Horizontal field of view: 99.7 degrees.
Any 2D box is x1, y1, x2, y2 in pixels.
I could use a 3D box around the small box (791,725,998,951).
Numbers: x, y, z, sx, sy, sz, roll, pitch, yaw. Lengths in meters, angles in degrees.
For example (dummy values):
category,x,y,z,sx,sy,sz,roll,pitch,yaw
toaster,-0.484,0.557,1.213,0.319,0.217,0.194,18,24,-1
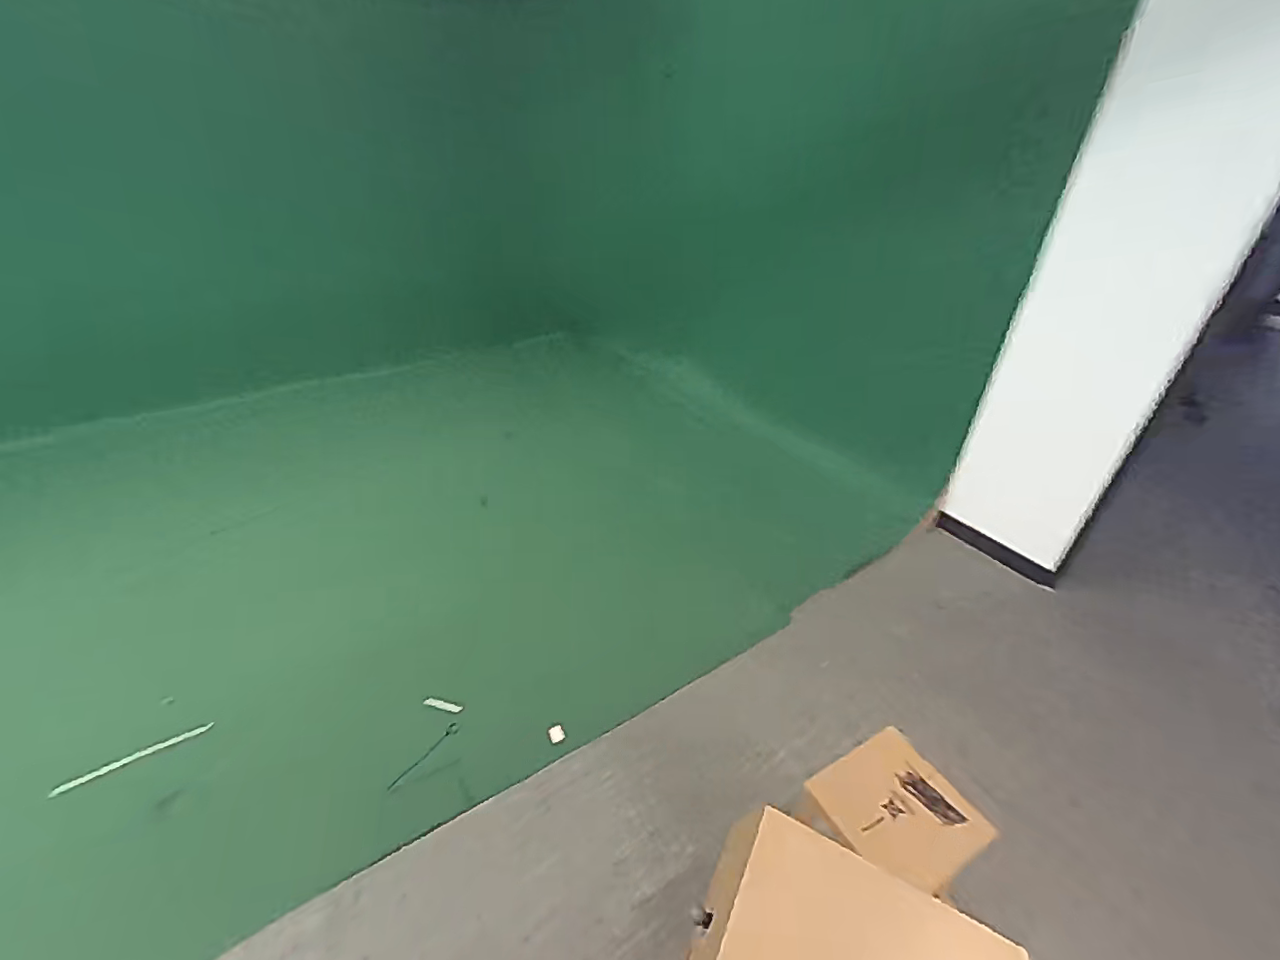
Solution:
category,x,y,z,sx,sy,sz,roll,pitch,yaw
small box,0.331,0.483,0.739,0.179,0.176,0.168,-17,38,-23
